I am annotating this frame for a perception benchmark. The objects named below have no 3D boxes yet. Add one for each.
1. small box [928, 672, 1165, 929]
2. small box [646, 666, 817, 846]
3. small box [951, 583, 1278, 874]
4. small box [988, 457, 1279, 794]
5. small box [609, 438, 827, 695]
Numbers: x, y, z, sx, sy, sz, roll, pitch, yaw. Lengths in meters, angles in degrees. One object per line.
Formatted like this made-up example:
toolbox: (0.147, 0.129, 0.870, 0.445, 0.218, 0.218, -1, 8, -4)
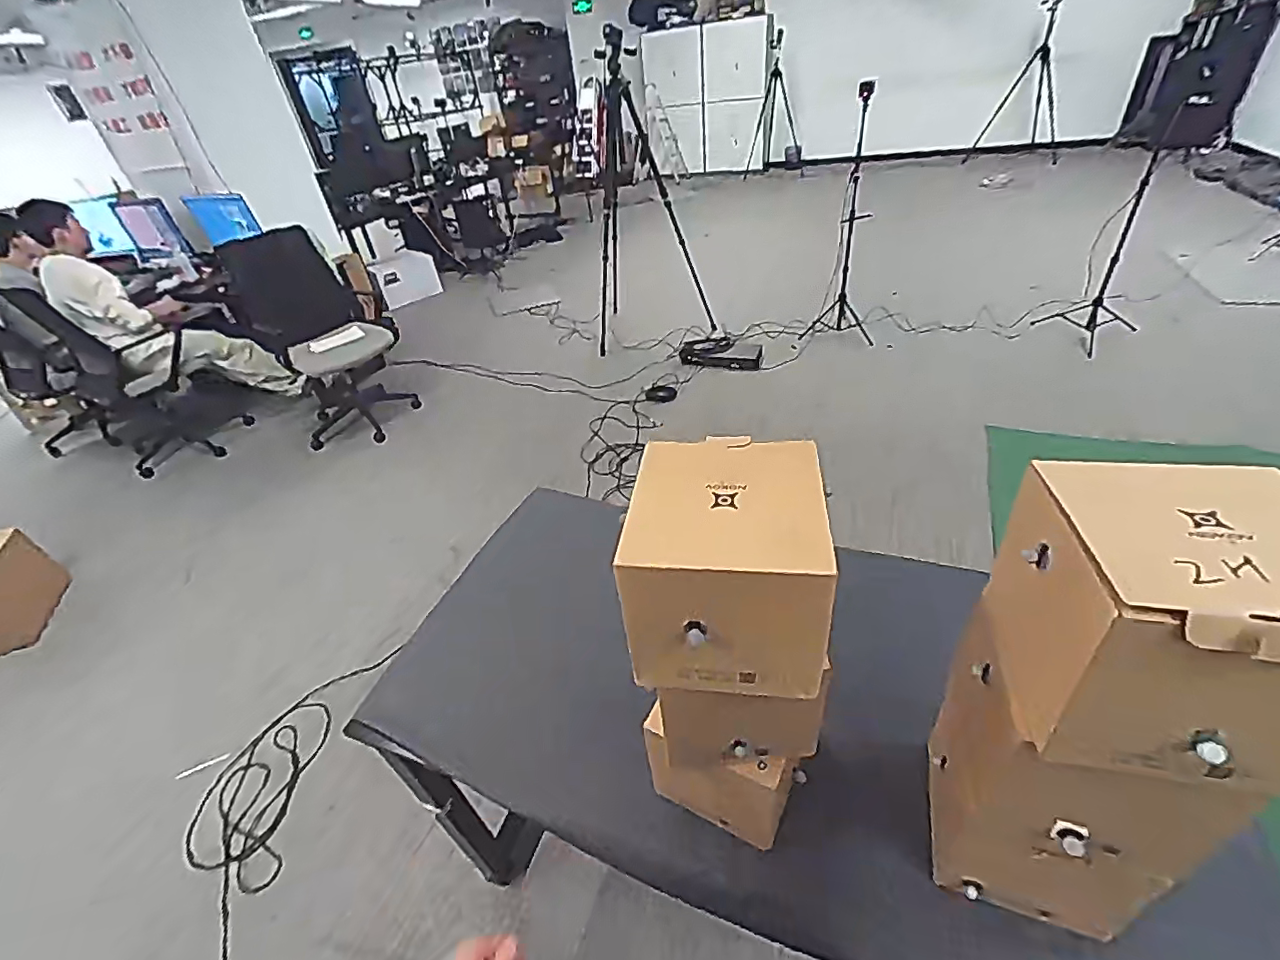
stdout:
small box: (0.434, 0.358, 0.614, 0.168, 0.176, 0.179, 7, 37, 21)
small box: (0.123, 0.329, 0.715, 0.168, 0.176, 0.179, 14, 40, 27)
small box: (0.414, 0.229, 0.518, 0.168, 0.176, 0.179, 4, 38, 18)
small box: (0.394, 0.100, 0.416, 0.168, 0.176, 0.179, 2, 36, 16)
small box: (0.078, 0.078, 0.509, 0.168, 0.176, 0.179, 0, 37, 11)
